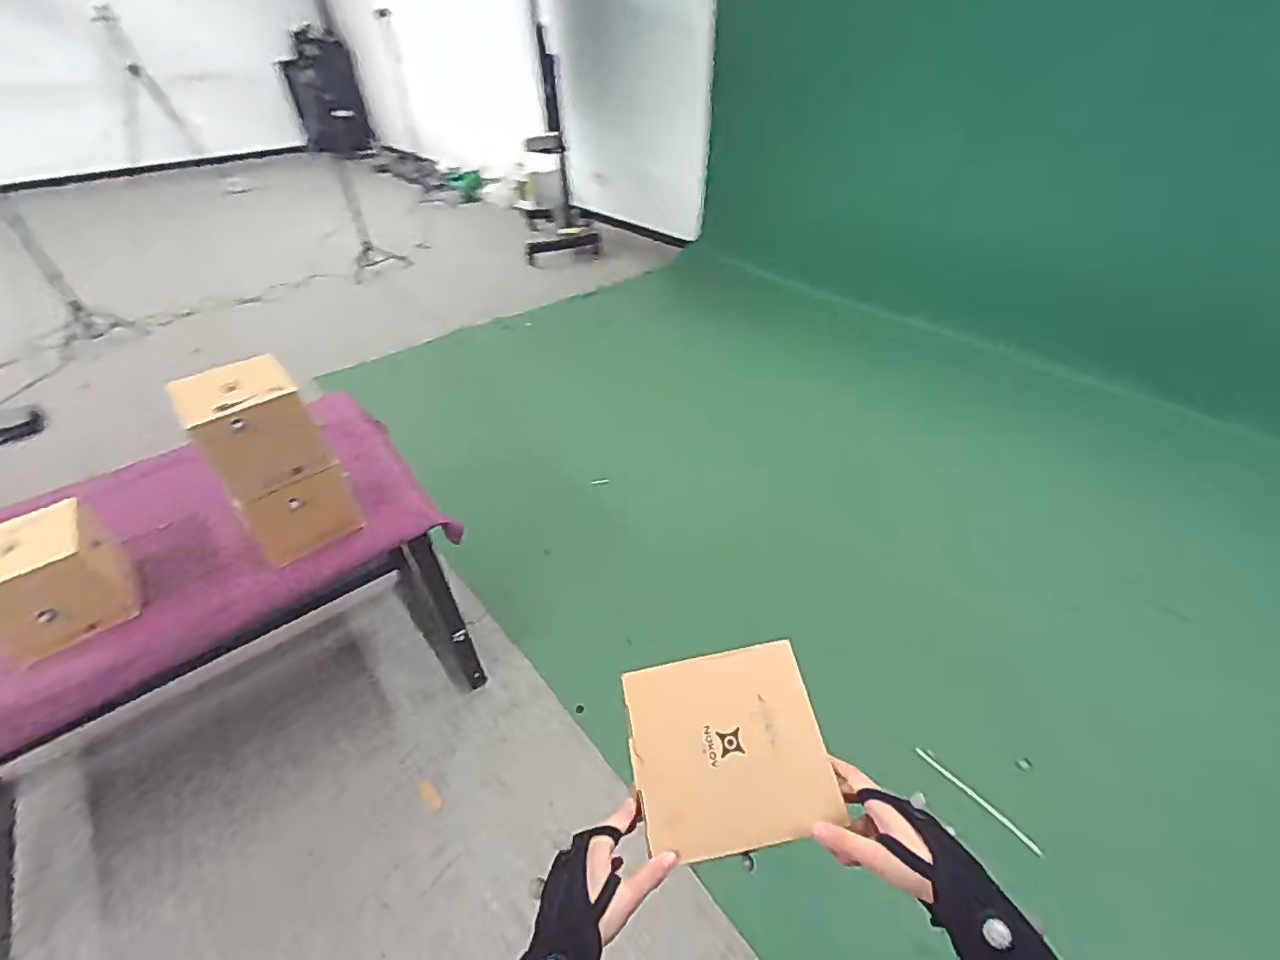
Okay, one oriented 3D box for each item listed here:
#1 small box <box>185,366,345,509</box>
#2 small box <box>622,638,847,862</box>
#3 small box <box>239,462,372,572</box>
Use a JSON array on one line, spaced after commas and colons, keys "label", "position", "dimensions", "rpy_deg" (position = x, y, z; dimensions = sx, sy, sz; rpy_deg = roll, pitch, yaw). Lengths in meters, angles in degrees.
[{"label": "small box", "position": [-0.674, -0.078, 0.982], "dimensions": [0.168, 0.176, 0.179], "rpy_deg": [-32, 49, -27]}, {"label": "small box", "position": [0.090, 0.289, 0.569], "dimensions": [0.179, 0.176, 0.168], "rpy_deg": [-13, 55, -1]}, {"label": "small box", "position": [-0.667, 0.048, 1.088], "dimensions": [0.179, 0.176, 0.168], "rpy_deg": [-32, 49, -28]}]
